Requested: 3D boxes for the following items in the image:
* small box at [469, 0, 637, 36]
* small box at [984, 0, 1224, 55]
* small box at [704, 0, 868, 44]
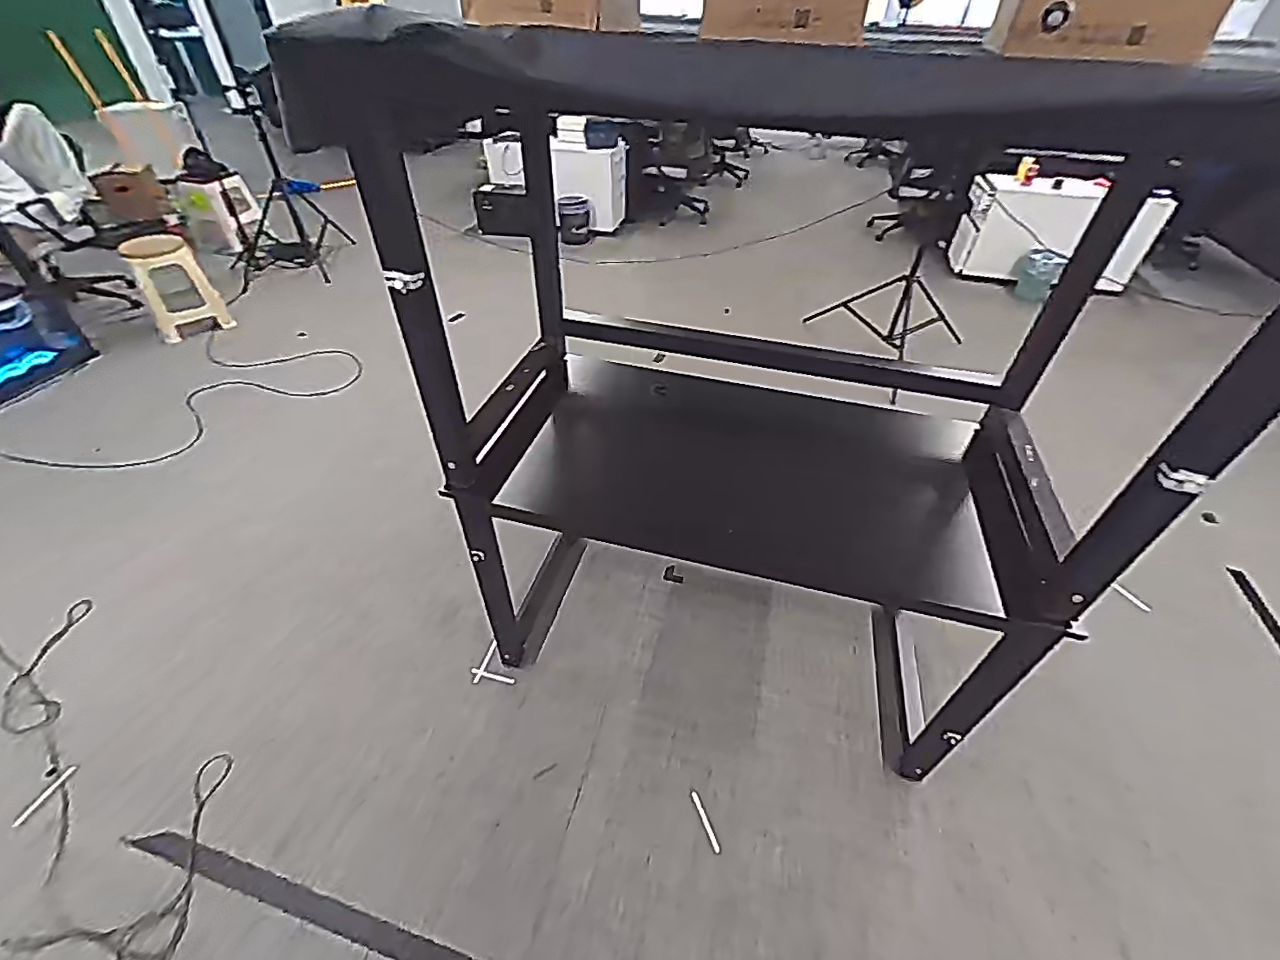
[{"bbox_3d":[-0.097,-0.621,0.611,0.168,0.176,0.179,12,42,9],"label":"small box"},{"bbox_3d":[0.457,-0.513,0.512,0.168,0.176,0.179,14,42,14],"label":"small box"},{"bbox_3d":[0.167,-0.570,0.563,0.168,0.176,0.179,12,41,12],"label":"small box"}]
